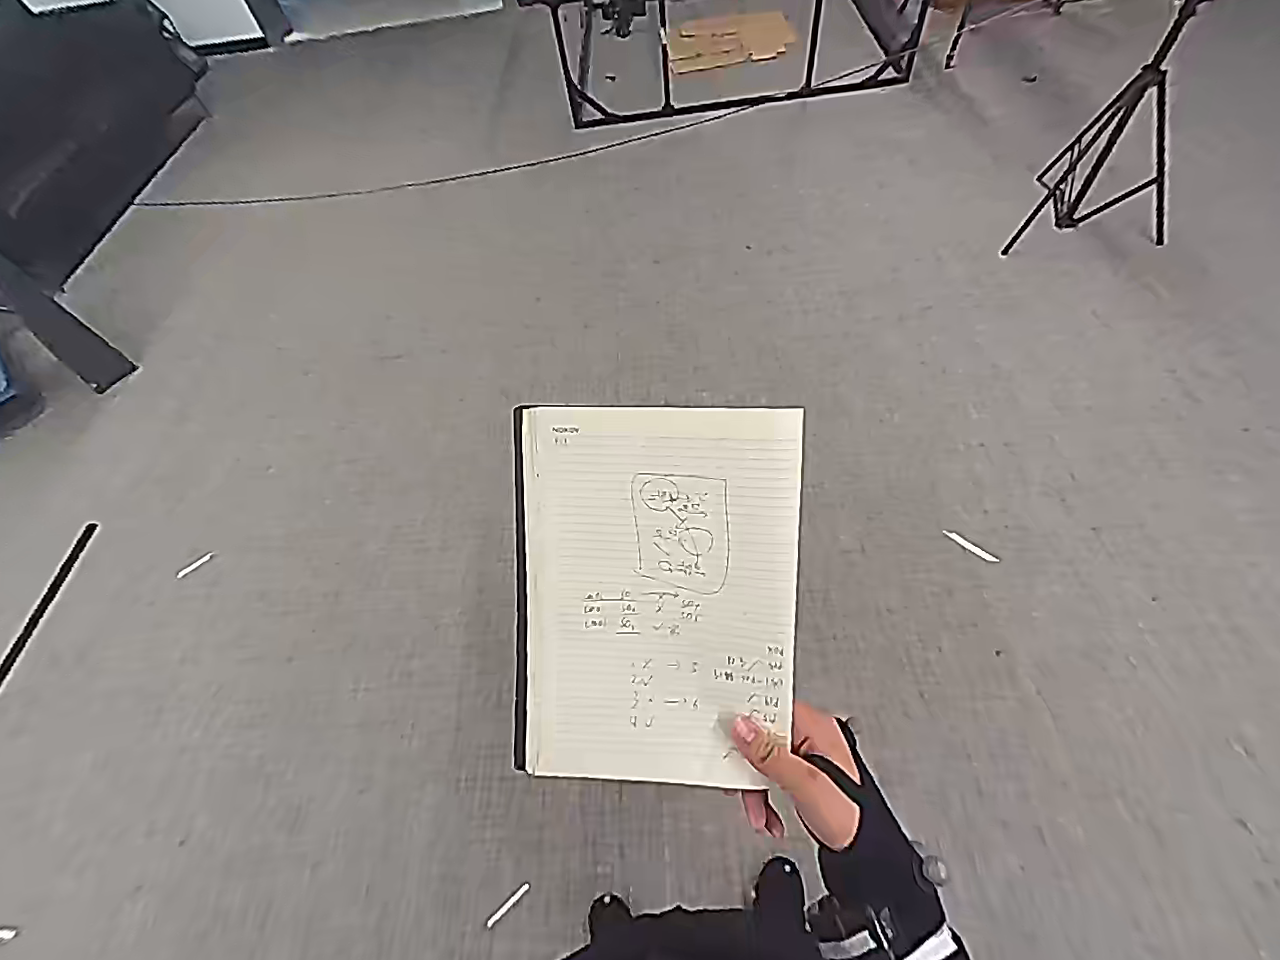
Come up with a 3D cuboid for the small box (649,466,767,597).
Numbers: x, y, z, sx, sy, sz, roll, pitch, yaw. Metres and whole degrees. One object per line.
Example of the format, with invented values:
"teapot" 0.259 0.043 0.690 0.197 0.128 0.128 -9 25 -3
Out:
"small box" 0.124 0.101 1.022 0.179 0.176 0.168 -15 56 -1
